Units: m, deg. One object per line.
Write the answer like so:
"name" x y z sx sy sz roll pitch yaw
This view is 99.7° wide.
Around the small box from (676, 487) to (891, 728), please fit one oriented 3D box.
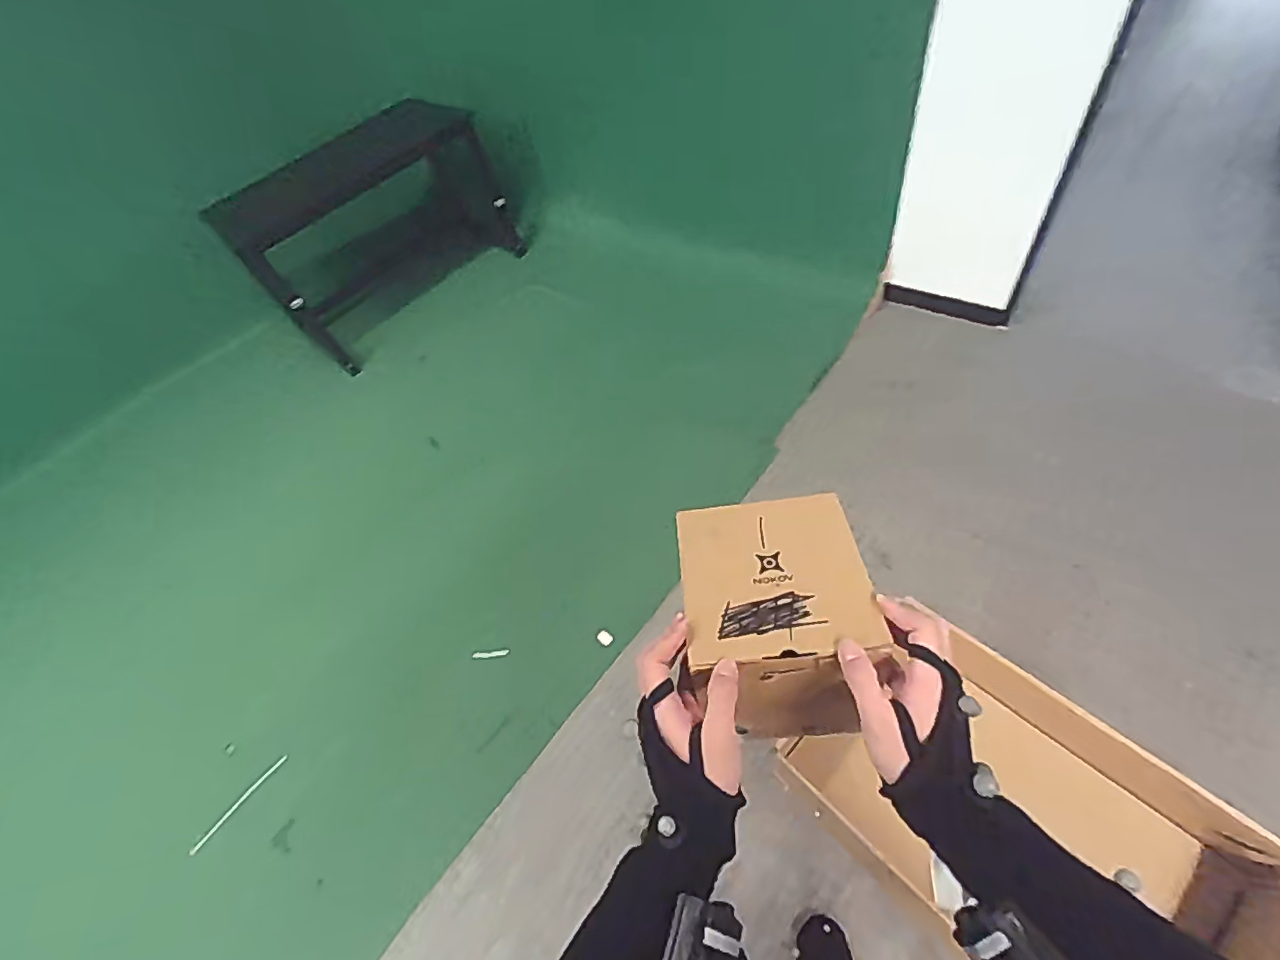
"small box" 0.130 0.133 0.543 0.168 0.176 0.179 -7 44 6
